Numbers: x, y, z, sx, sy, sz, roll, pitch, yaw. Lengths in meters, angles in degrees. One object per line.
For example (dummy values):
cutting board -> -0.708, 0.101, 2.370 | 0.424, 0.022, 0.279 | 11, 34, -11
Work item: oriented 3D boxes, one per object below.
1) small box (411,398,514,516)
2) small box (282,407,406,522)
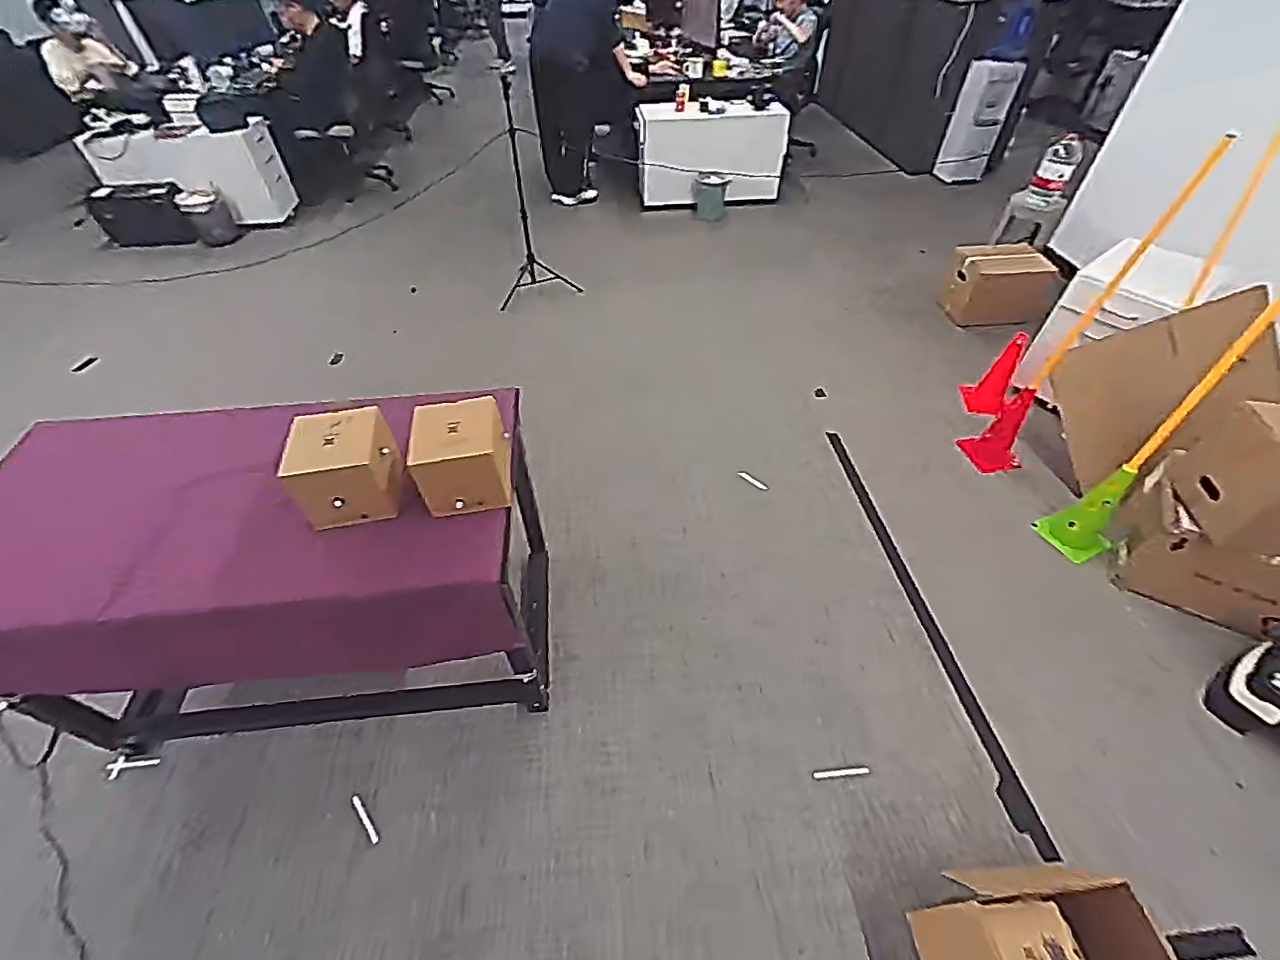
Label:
small box -> -0.368, -0.048, 1.150 | 0.168, 0.176, 0.179 | -9, 47, -5
small box -> -0.606, -0.026, 1.133 | 0.168, 0.176, 0.179 | -9, 47, -8
